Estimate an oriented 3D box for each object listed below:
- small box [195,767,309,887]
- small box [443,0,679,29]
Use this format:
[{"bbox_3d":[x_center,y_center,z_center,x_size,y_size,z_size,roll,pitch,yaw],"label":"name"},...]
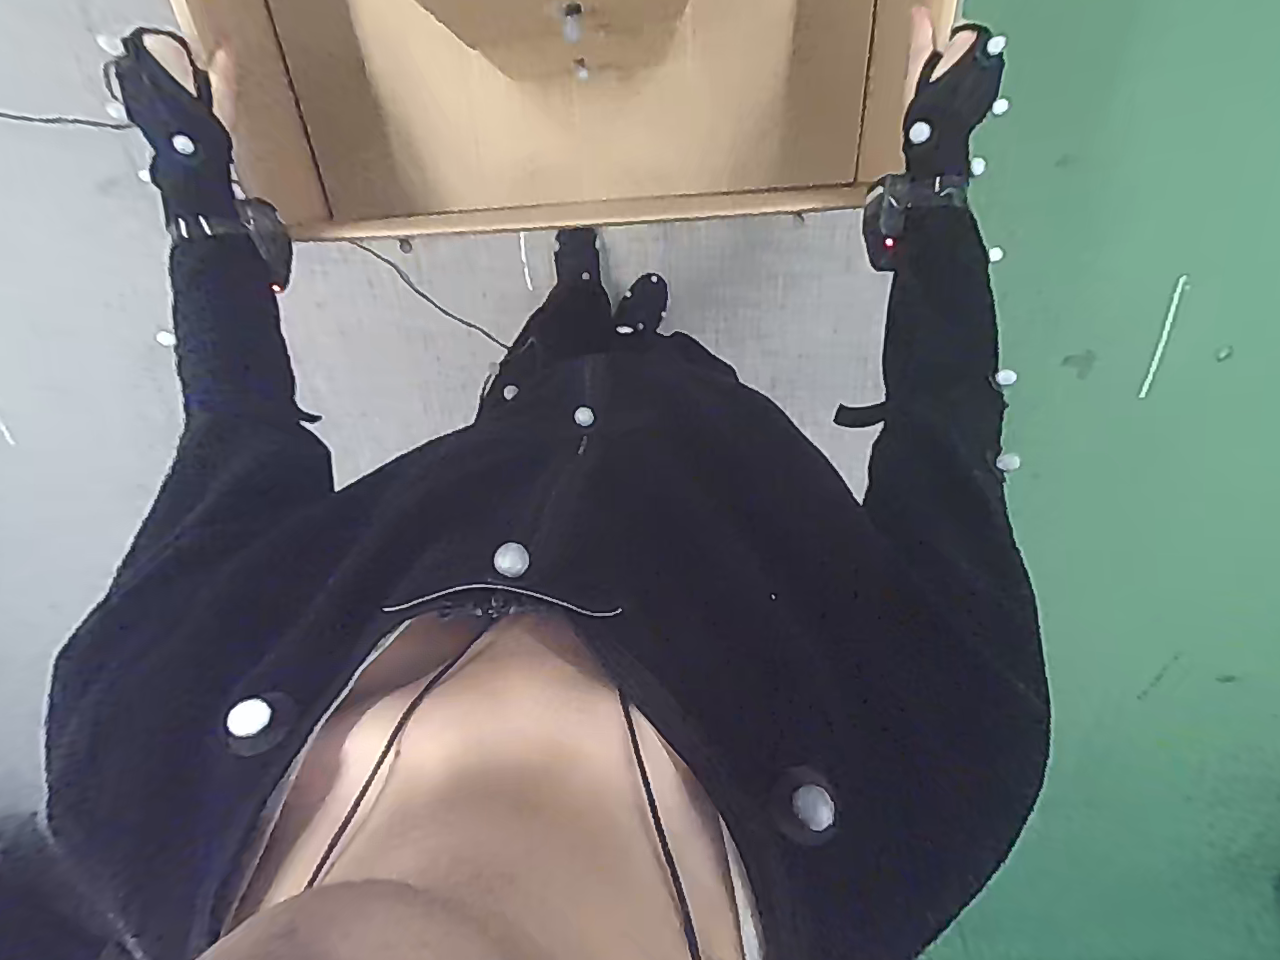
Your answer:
[{"bbox_3d":[-0.945,0.848,1.330,0.168,0.176,0.179,14,113,-7],"label":"small box"},{"bbox_3d":[-0.052,-0.378,0.298,0.168,0.176,0.179,-8,120,0],"label":"small box"}]
